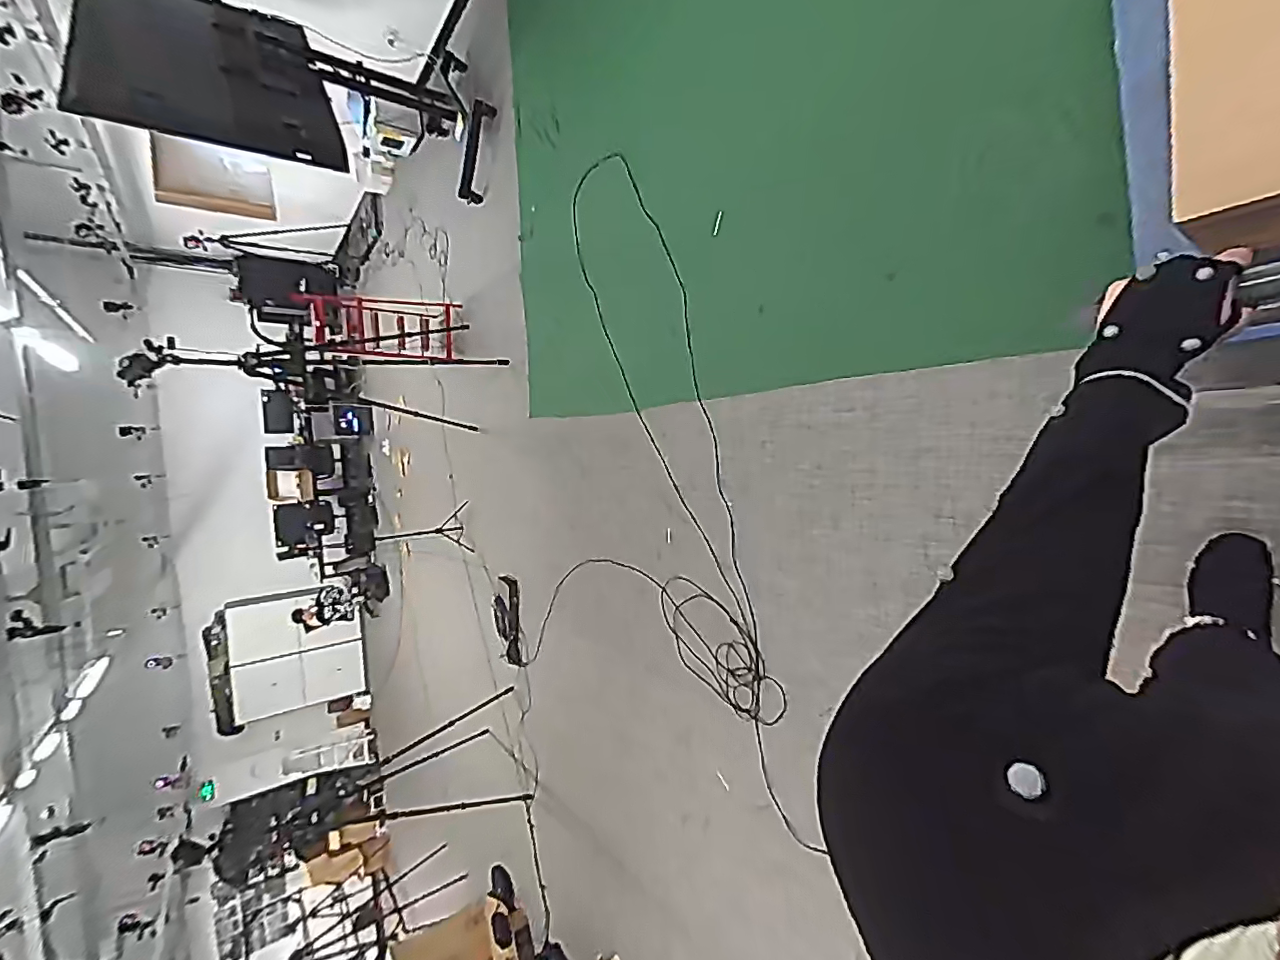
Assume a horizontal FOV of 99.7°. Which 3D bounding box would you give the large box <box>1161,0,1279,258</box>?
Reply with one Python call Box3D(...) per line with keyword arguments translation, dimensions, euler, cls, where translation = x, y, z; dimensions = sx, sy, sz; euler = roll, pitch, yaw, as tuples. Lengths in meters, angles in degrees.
Box3D(translation=(0.989, -0.588, 0.764), dimensions=(0.320, 0.320, 0.408), euler=(-1, 93, 53), cls="large box")
